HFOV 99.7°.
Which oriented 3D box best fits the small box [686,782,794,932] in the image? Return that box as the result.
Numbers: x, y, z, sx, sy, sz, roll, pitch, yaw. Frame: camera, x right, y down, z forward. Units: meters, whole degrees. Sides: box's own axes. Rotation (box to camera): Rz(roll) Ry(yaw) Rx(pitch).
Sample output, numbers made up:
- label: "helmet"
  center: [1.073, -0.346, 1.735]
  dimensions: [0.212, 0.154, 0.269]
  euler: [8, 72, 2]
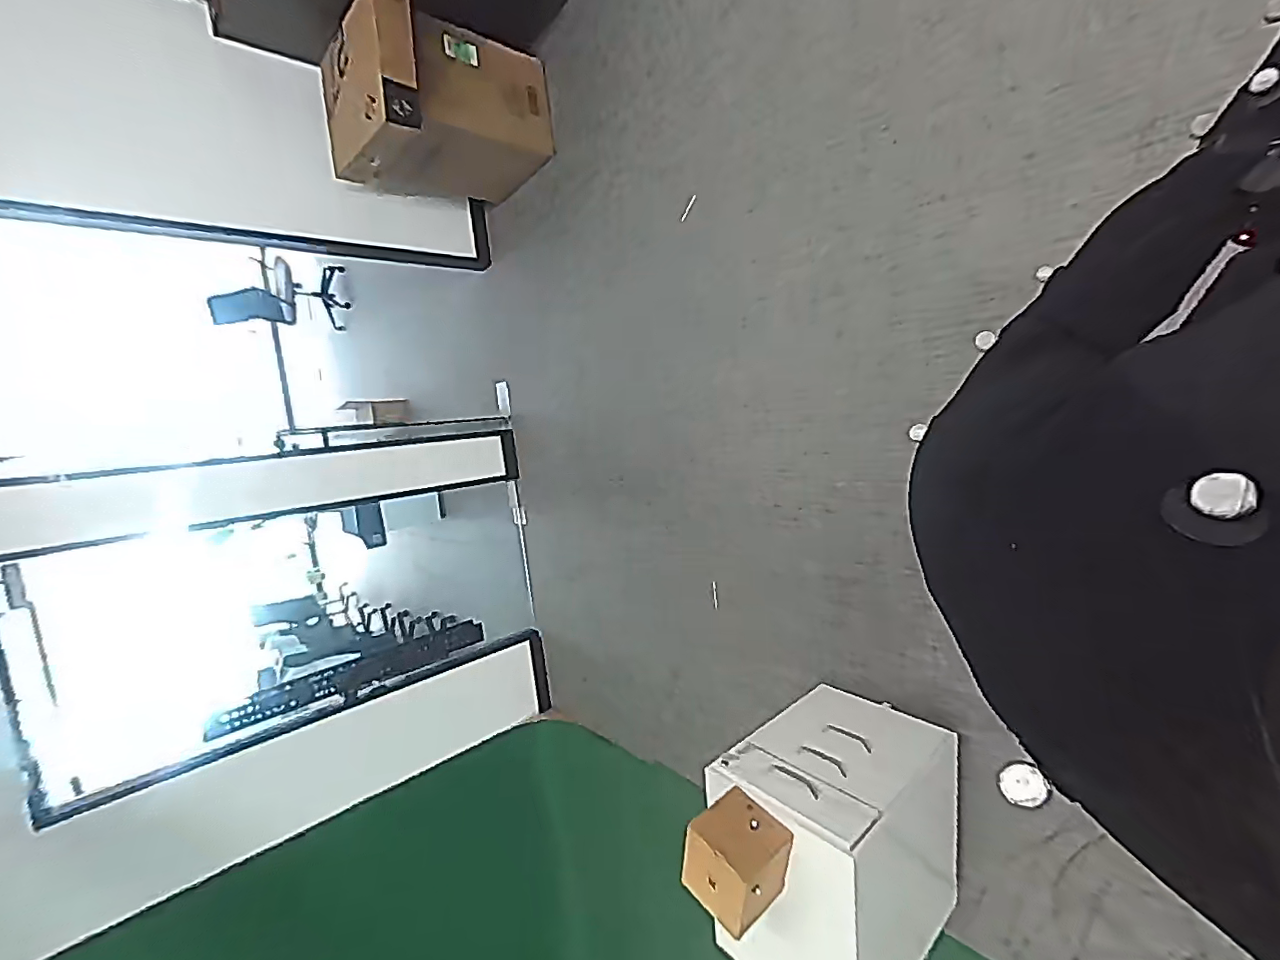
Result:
- label: "small box"
  center: [0.223, 0.827, 1.204]
  dimensions: [0.168, 0.176, 0.179]
  euler: [22, 115, 45]
